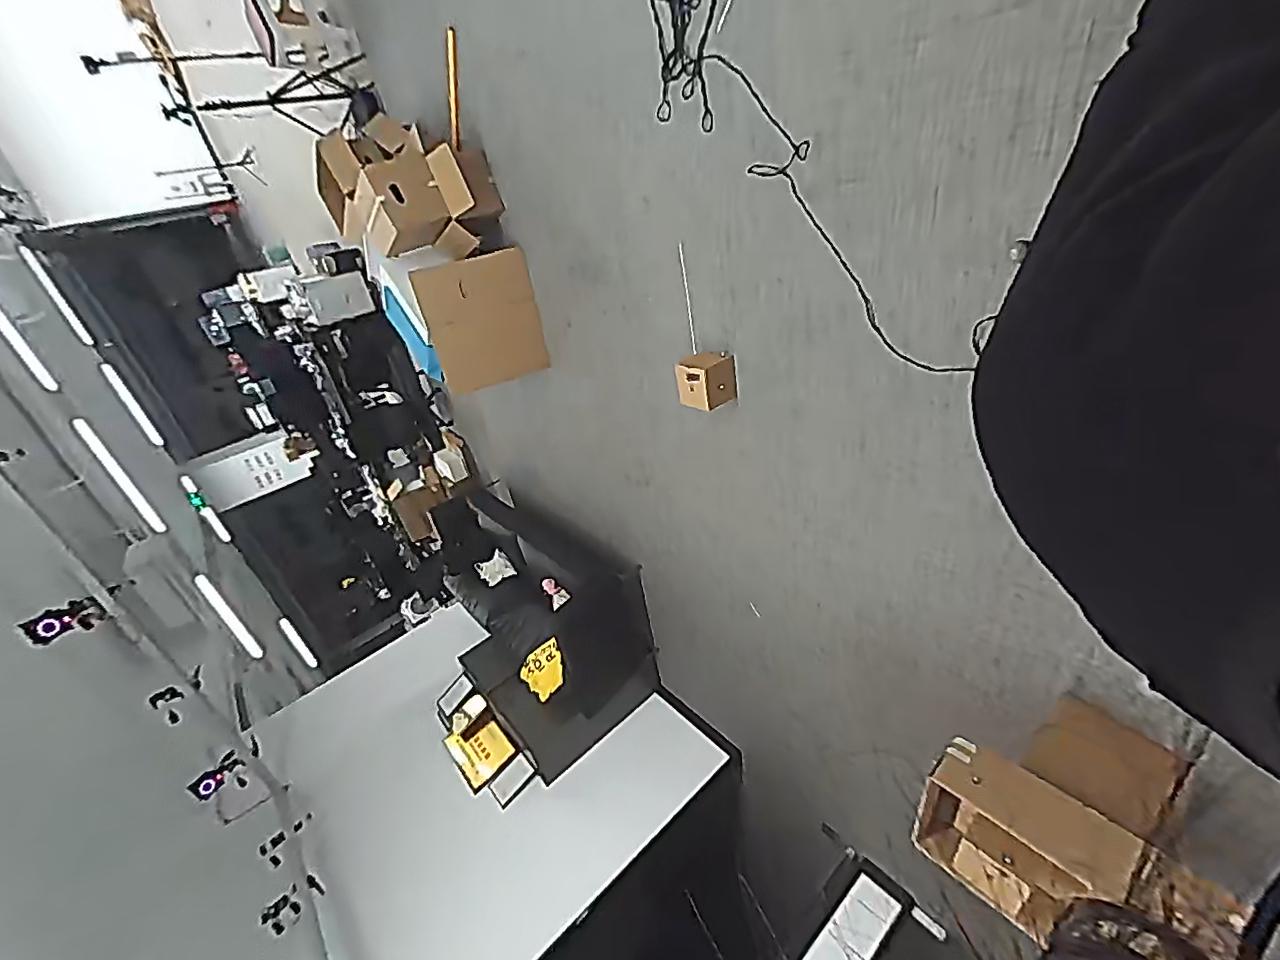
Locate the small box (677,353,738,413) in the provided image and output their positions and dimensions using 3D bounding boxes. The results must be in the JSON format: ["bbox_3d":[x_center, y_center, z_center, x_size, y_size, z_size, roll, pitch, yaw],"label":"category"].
[{"bbox_3d":[0.271,-0.390,2.151,0.168,0.176,0.179,25,137,46],"label":"small box"}]

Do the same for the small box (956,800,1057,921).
[{"bbox_3d":[0.986,1.018,1.456,0.168,0.176,0.179,26,137,42],"label":"small box"}]
